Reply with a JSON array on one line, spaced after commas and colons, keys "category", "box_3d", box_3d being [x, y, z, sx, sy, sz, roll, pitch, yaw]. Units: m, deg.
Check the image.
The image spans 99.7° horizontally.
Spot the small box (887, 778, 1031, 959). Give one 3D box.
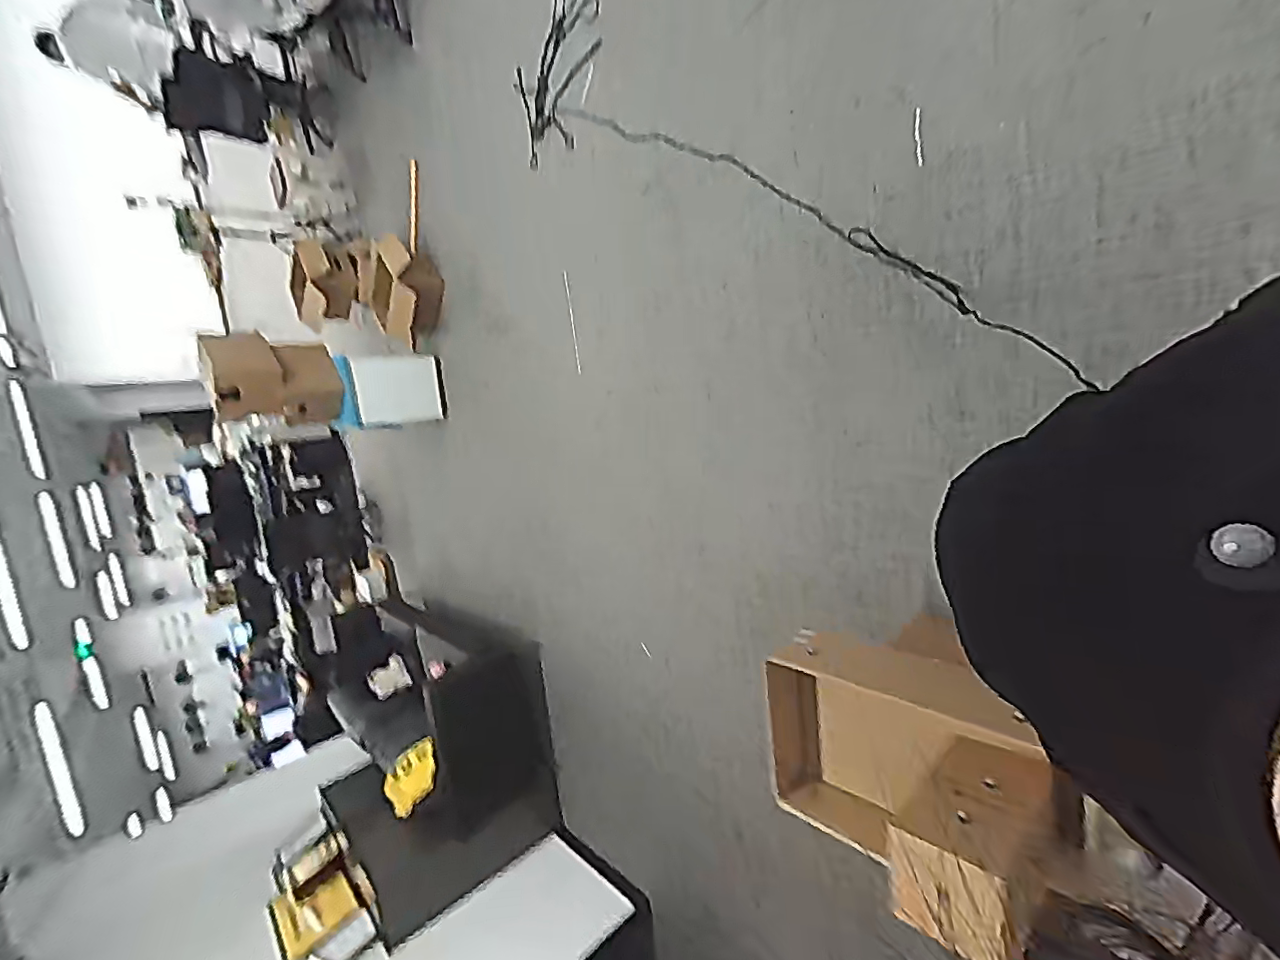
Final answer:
[{"category": "small box", "box_3d": [0.527, 0.639, 0.894, 0.168, 0.176, 0.179, 4, 102, 49]}]
